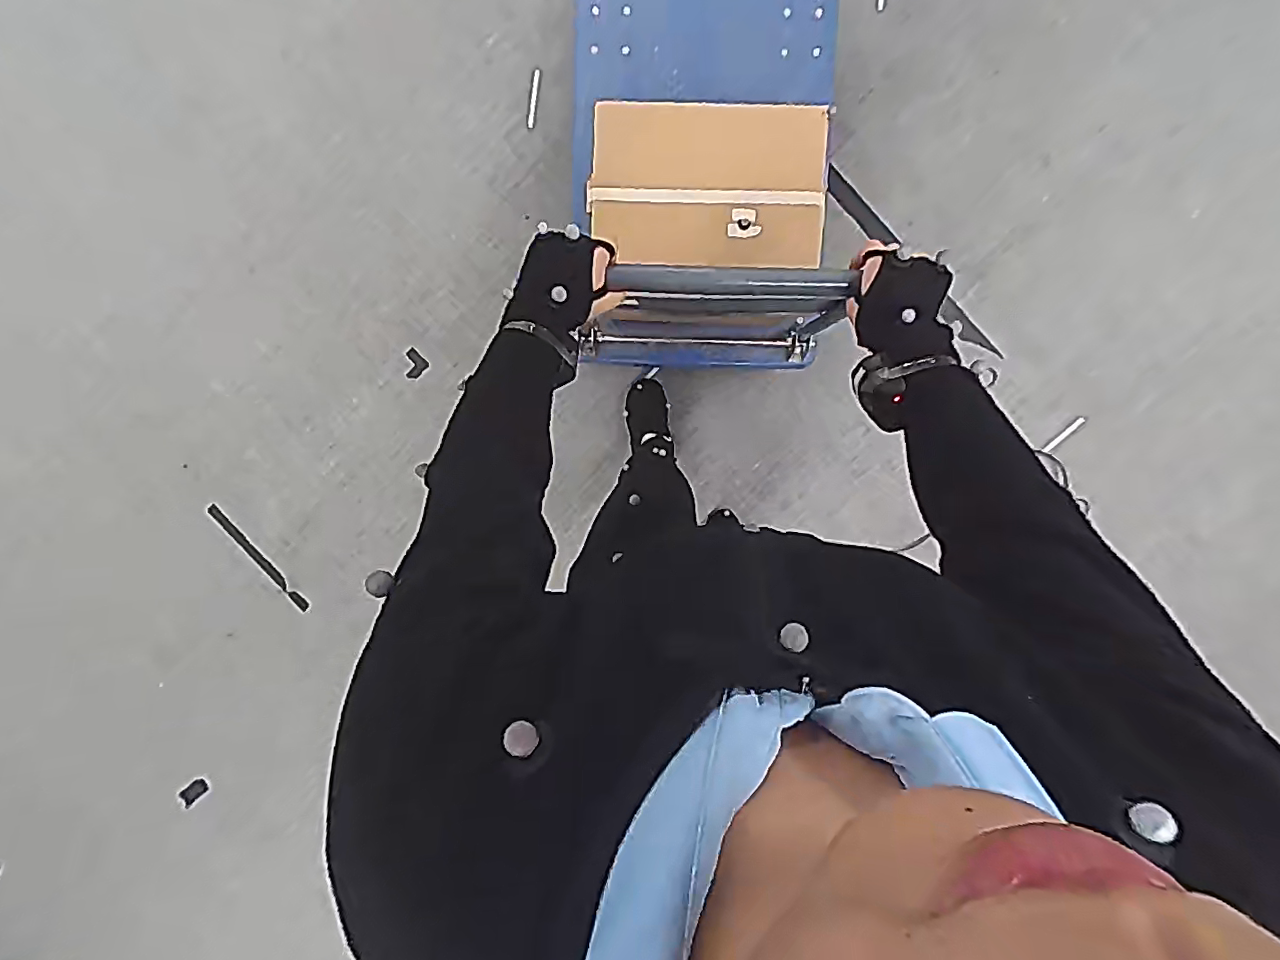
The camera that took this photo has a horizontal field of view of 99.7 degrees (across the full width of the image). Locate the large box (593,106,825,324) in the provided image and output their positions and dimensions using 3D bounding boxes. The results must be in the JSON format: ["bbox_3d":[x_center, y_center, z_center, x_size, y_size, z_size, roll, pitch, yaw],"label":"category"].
[{"bbox_3d":[0.119,-0.503,1.095,0.408,0.320,0.320,2,96,1],"label":"large box"}]
